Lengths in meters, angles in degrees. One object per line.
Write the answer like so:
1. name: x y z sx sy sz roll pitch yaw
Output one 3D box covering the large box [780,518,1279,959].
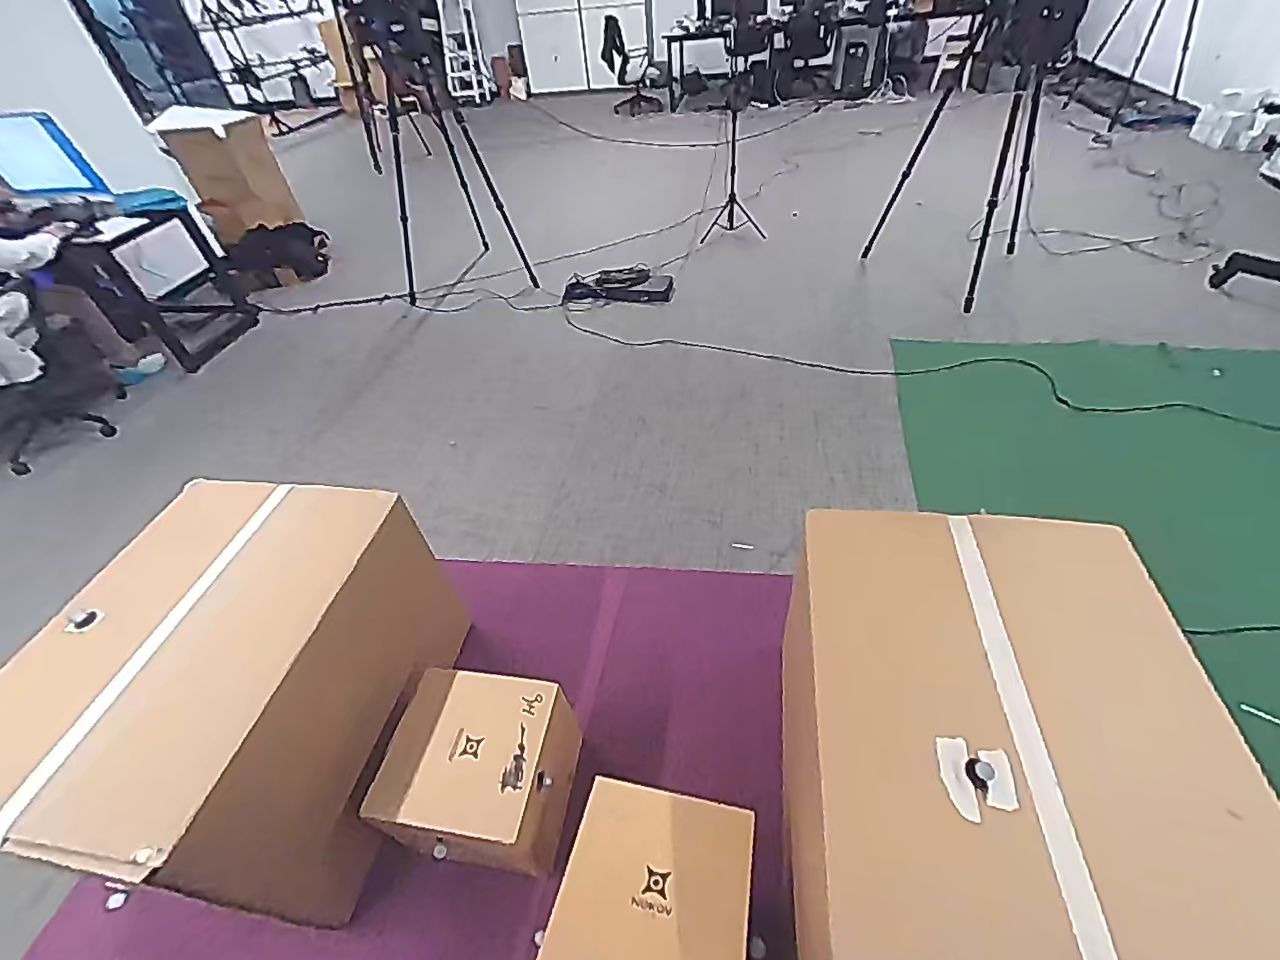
1. large box: 0.323 0.297 0.559 0.320 0.320 0.408 4 46 11
